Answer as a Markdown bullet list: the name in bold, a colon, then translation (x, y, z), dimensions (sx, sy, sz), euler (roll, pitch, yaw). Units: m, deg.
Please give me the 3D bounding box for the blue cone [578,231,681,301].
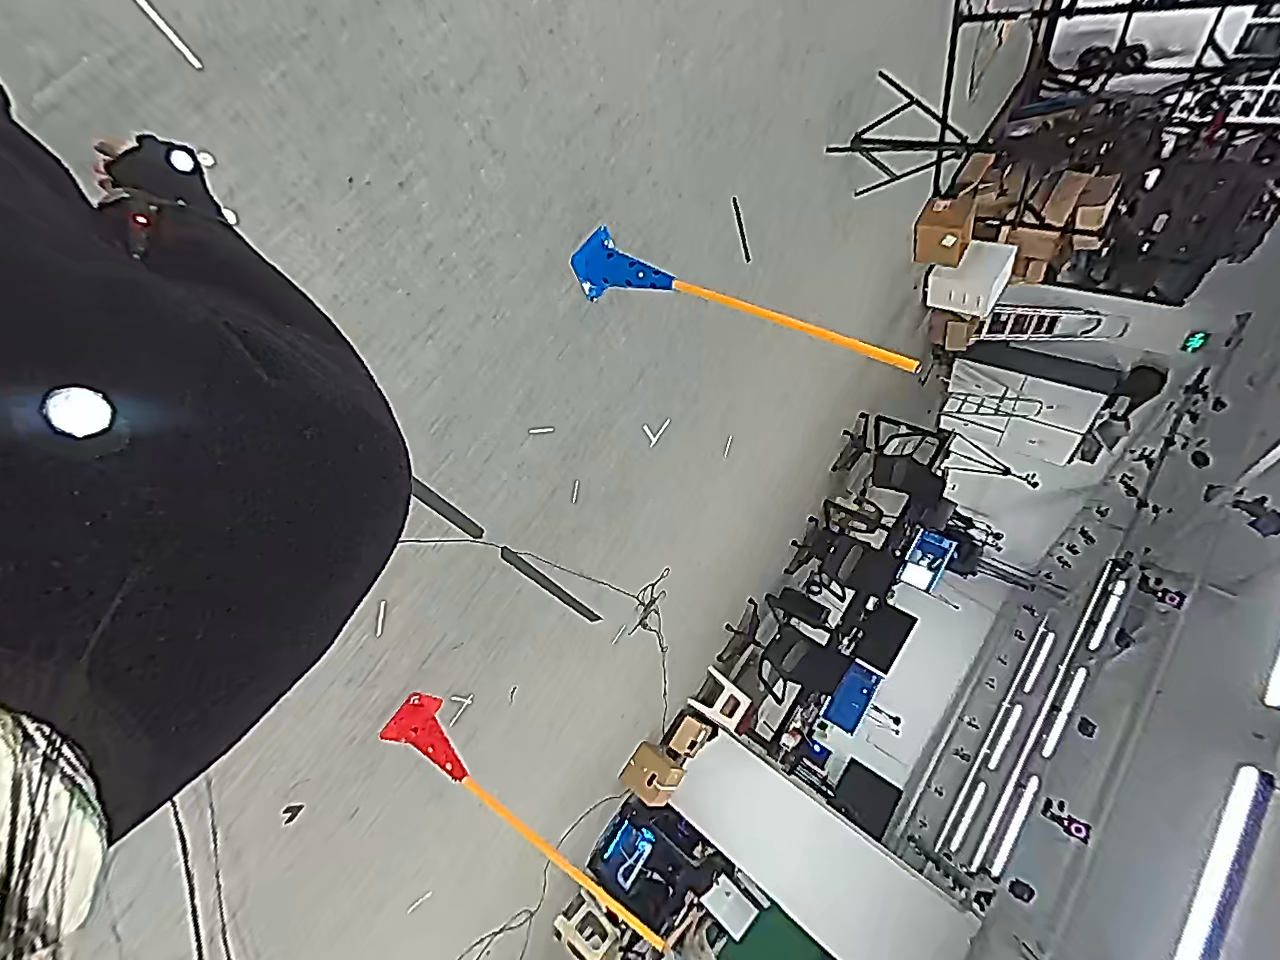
- **blue cone**: translation (-0.019, -0.708, 1.860), dimensions (0.193, 0.380, 0.192), euler (-52, 147, -17)
